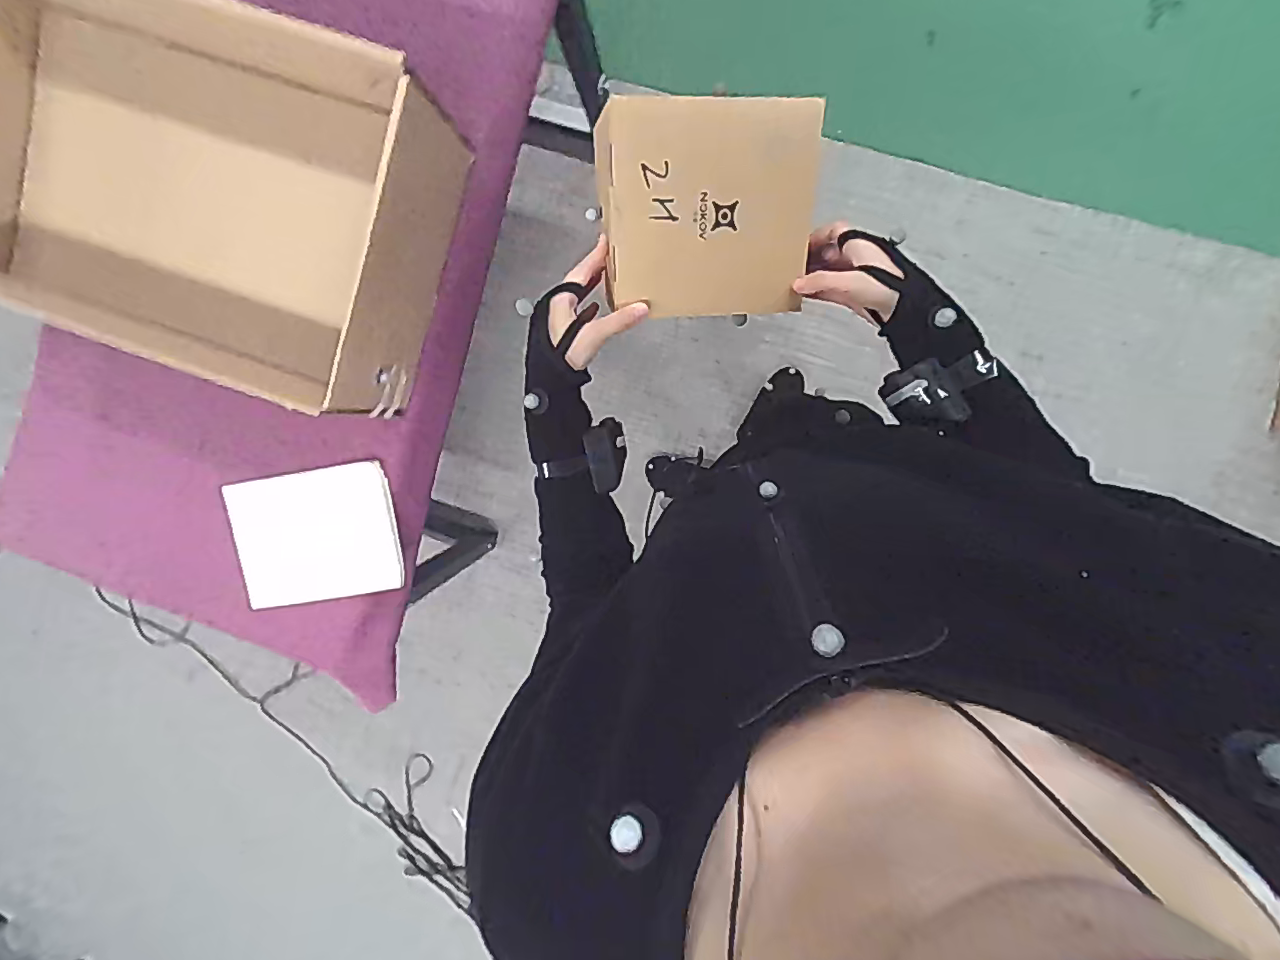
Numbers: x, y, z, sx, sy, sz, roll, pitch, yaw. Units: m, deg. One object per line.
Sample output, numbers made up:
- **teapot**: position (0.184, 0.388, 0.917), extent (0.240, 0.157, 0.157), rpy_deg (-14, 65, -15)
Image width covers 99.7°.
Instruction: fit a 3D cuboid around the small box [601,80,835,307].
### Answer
- **small box**: position (0.058, -0.263, 0.517), extent (0.179, 0.176, 0.168), rpy_deg (-3, 115, -6)
